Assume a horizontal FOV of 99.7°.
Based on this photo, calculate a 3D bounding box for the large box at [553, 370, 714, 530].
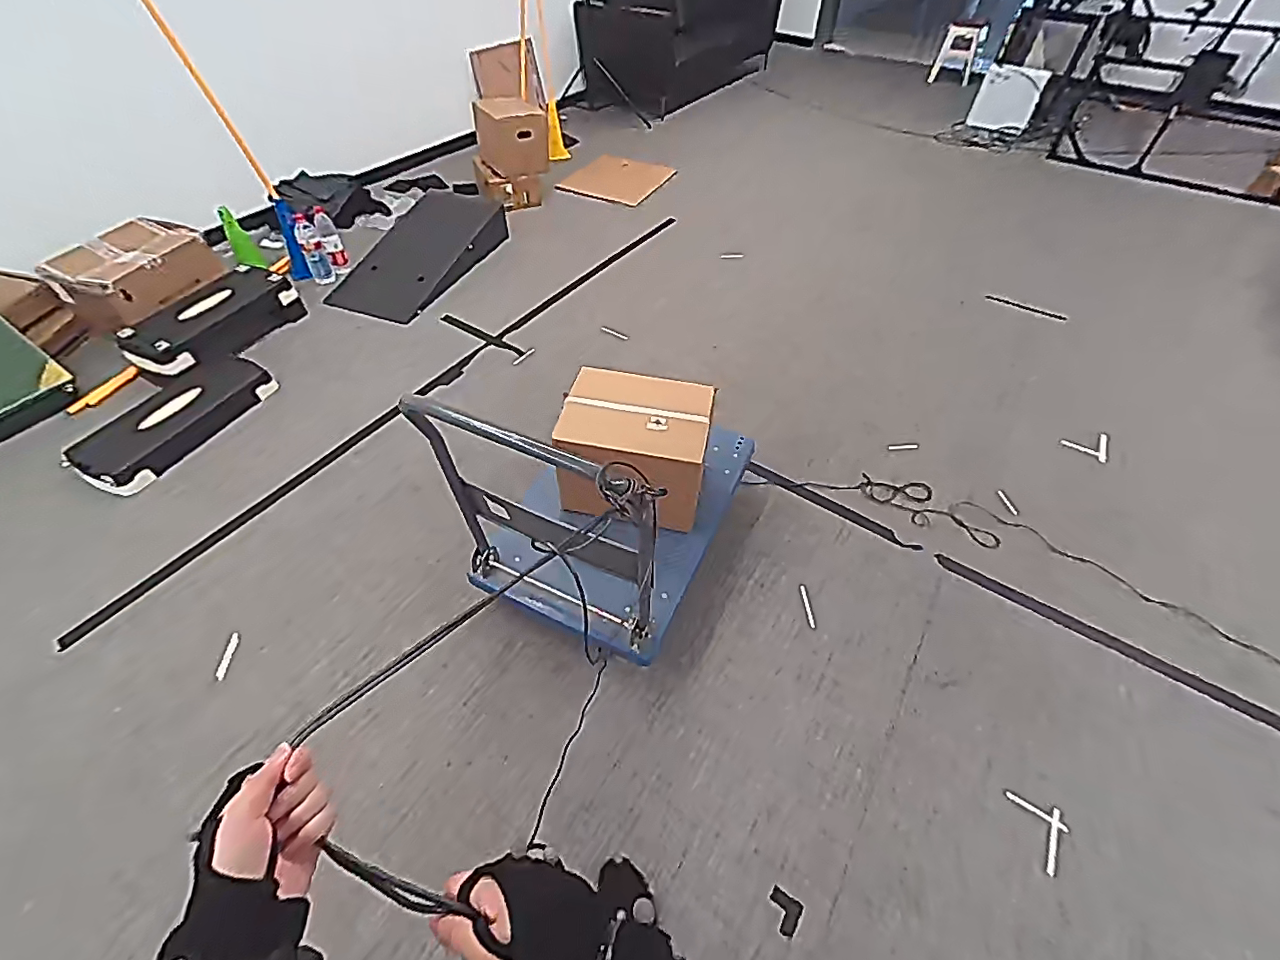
[{"bbox_3d":[-0.014,-0.086,1.601,0.408,0.320,0.320,10,51,6],"label":"large box"}]
